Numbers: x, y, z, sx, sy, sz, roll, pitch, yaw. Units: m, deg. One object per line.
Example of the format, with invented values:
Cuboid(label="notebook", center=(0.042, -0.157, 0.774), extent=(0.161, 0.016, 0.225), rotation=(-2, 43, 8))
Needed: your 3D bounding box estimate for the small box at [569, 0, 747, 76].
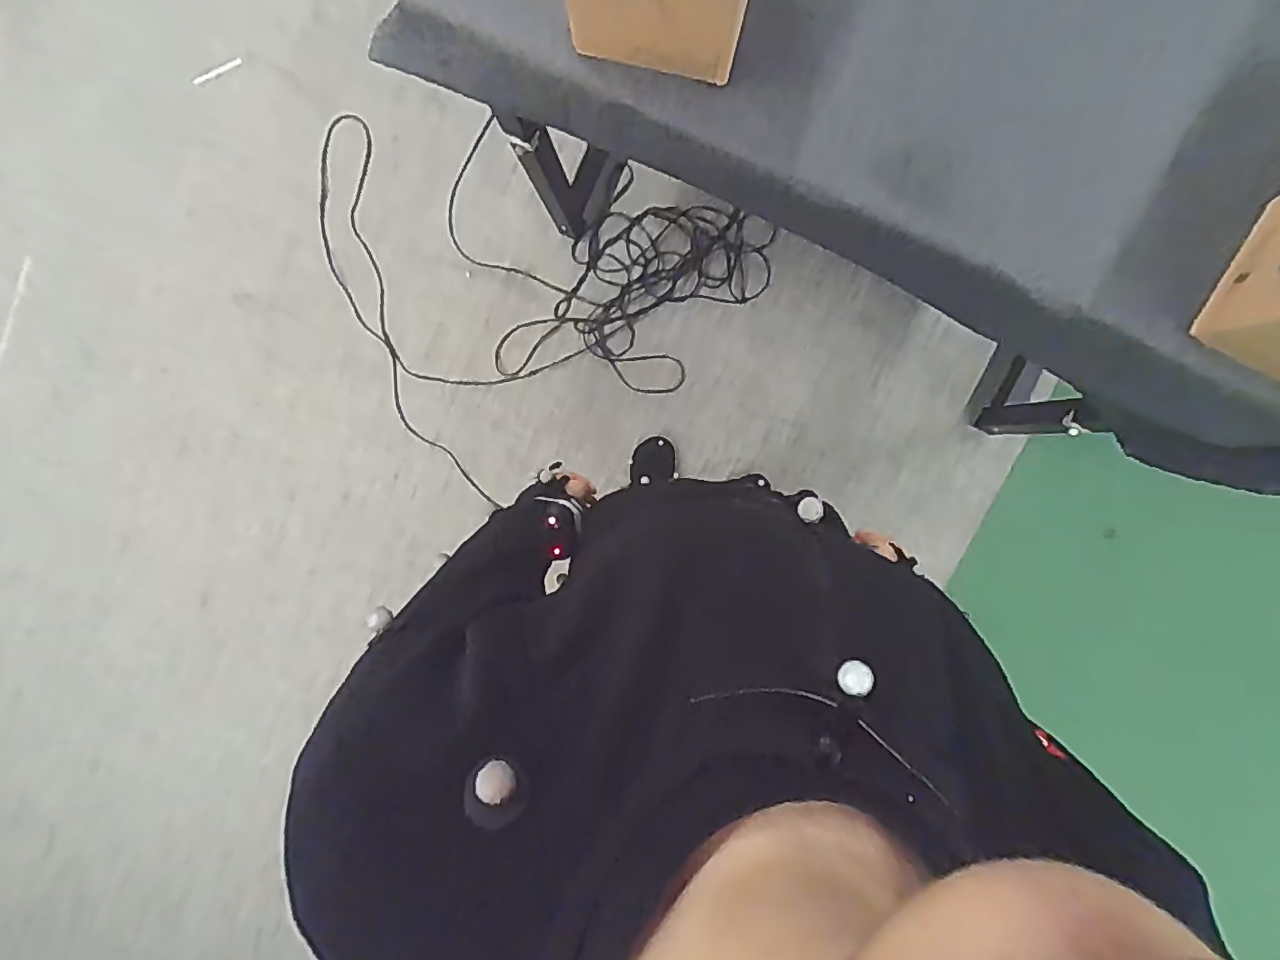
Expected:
Cuboid(label="small box", center=(0.030, -0.533, 0.515), extent=(0.179, 0.176, 0.168), rotation=(14, 94, 2))
